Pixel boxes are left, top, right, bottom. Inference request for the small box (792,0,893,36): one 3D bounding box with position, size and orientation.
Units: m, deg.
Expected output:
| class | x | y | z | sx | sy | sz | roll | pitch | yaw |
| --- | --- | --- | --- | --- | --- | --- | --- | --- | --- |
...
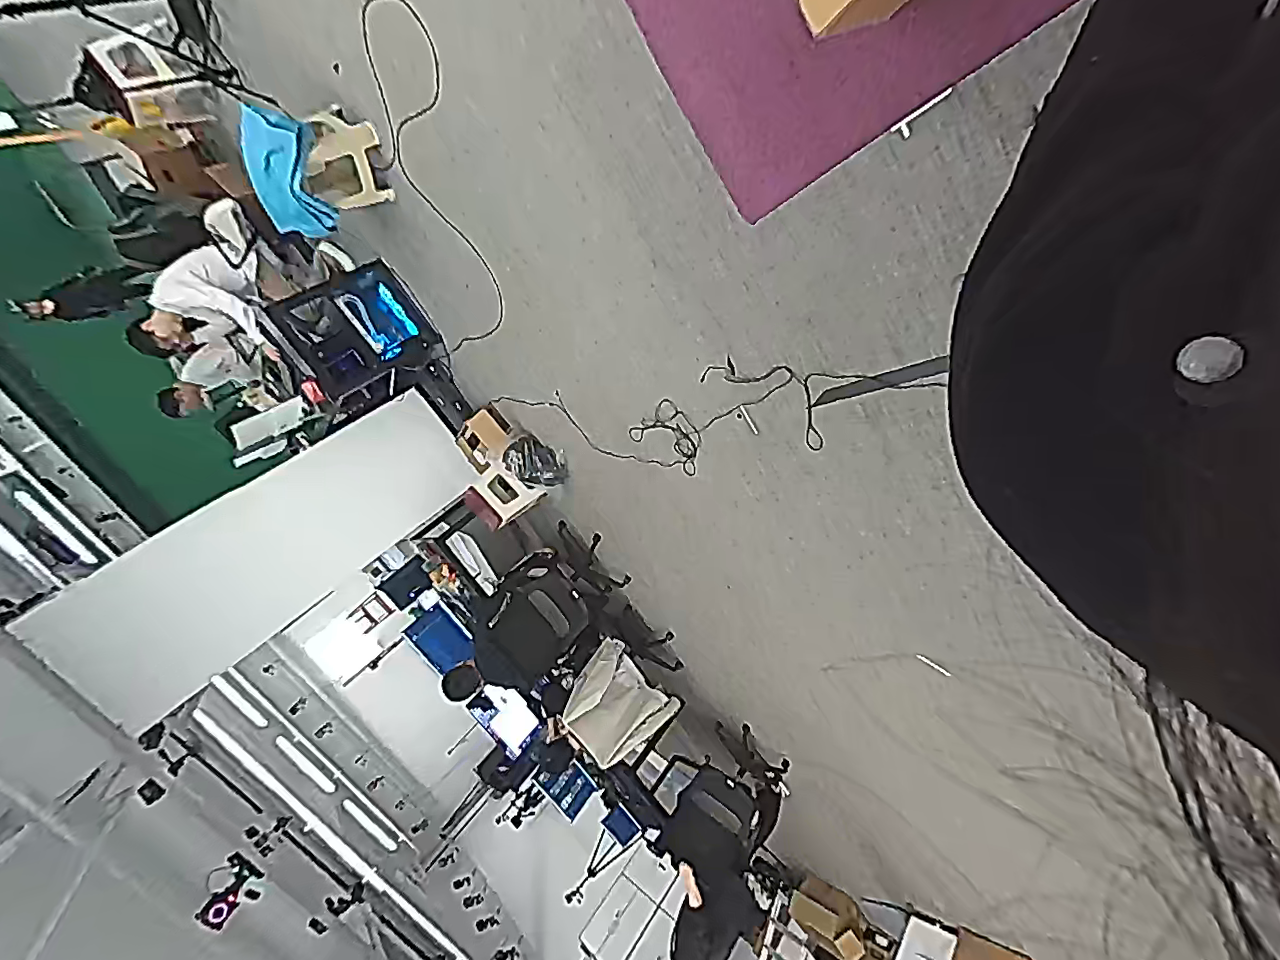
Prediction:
| class | x | y | z | sx | sy | sz | roll | pitch | yaw |
| --- | --- | --- | --- | --- | --- | --- | --- | --- | --- |
| small box | 0.210 | -0.530 | 0.449 | 0.168 | 0.176 | 0.179 | 56 | 148 | -13 |
